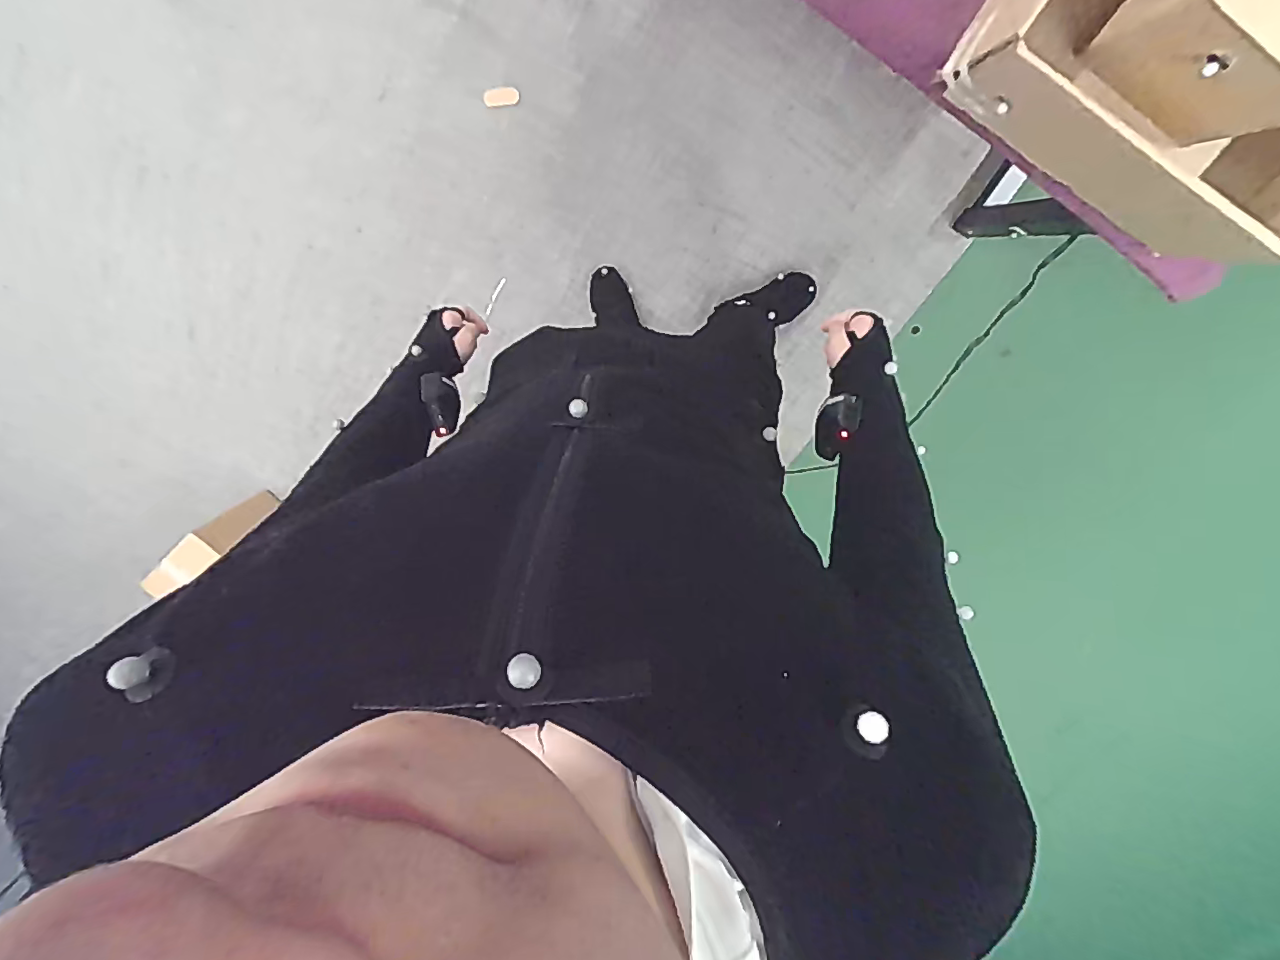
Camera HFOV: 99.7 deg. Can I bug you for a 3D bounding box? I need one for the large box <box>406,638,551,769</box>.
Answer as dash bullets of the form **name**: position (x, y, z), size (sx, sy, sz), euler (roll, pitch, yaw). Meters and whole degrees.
- **large box**: position (-0.552, 0.787, 1.932), size (0.408, 0.320, 0.320), euler (1, 114, 3)
